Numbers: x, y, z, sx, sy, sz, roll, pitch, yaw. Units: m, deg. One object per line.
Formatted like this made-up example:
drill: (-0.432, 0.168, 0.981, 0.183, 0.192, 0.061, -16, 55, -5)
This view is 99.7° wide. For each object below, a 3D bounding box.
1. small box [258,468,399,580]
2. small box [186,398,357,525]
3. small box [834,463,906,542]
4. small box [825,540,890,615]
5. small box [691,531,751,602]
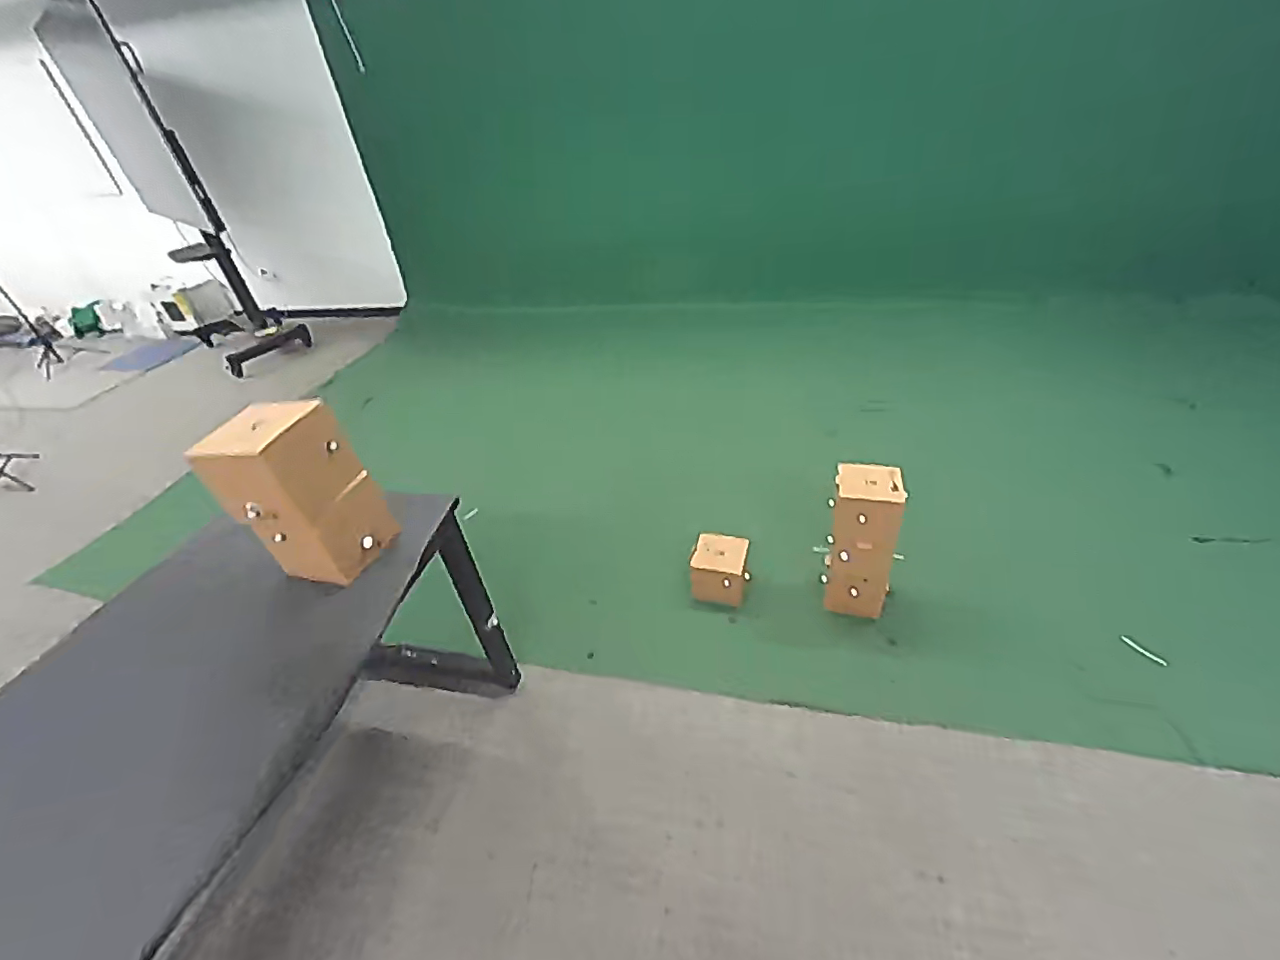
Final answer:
small box: (-0.643, 0.086, 1.117, 0.179, 0.176, 0.168, 6, 40, 19)
small box: (-0.668, -0.036, 1.011, 0.168, 0.176, 0.179, -1, 39, 14)
small box: (0.673, 0.066, 1.599, 0.179, 0.176, 0.168, 5, 38, 16)
small box: (0.717, 0.327, 1.795, 0.179, 0.176, 0.168, 6, 40, 17)
small box: (0.285, 0.305, 1.889, 0.179, 0.176, 0.168, 7, 39, 18)
